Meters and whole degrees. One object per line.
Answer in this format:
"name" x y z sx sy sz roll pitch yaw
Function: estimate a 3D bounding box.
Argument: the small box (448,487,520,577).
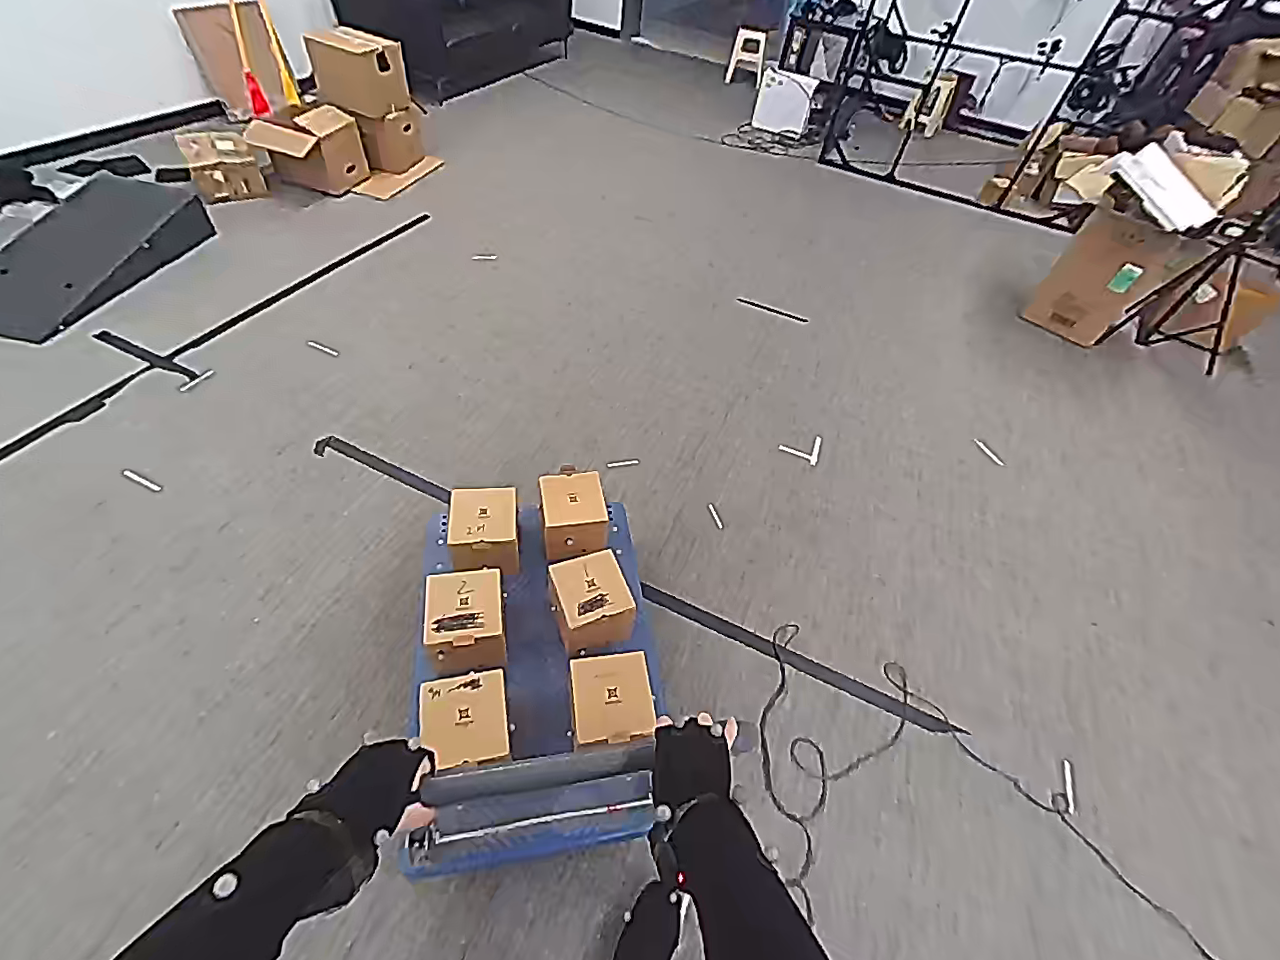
"small box" -0.411 0.139 1.445 0.168 0.176 0.179 -2 51 -11

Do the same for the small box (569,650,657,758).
"small box" -0.066 0.499 1.194 0.168 0.176 0.179 -2 49 -12

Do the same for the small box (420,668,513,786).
"small box" -0.356 0.518 1.126 0.168 0.176 0.179 -5 51 -15

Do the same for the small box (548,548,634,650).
"small box" -0.126 0.304 1.353 0.168 0.176 0.179 -13 52 -20

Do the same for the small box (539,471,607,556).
"small box" -0.191 0.099 1.520 0.168 0.176 0.179 -6 50 -14
